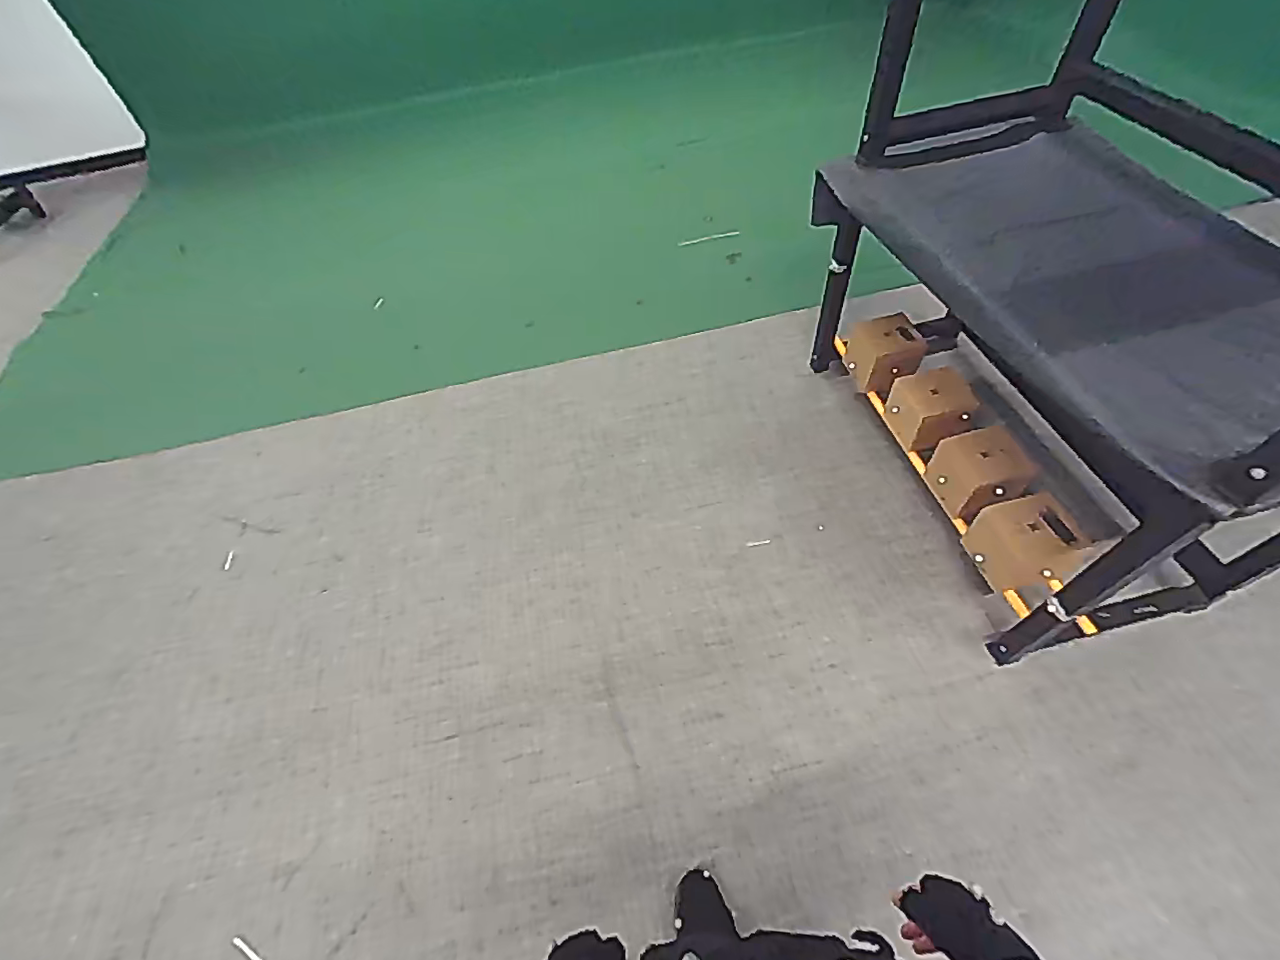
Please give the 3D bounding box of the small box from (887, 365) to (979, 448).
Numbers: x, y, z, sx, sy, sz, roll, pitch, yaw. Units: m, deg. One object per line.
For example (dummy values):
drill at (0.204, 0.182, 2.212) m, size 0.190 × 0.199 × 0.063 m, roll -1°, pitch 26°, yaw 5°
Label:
small box at (0.870, -0.216, 1.631) m, size 0.179 × 0.176 × 0.168 m, roll -13°, pitch 55°, yaw -1°

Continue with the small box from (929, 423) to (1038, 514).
small box at (0.927, -0.025, 1.487) m, size 0.179 × 0.176 × 0.168 m, roll -14°, pitch 56°, yaw -2°
